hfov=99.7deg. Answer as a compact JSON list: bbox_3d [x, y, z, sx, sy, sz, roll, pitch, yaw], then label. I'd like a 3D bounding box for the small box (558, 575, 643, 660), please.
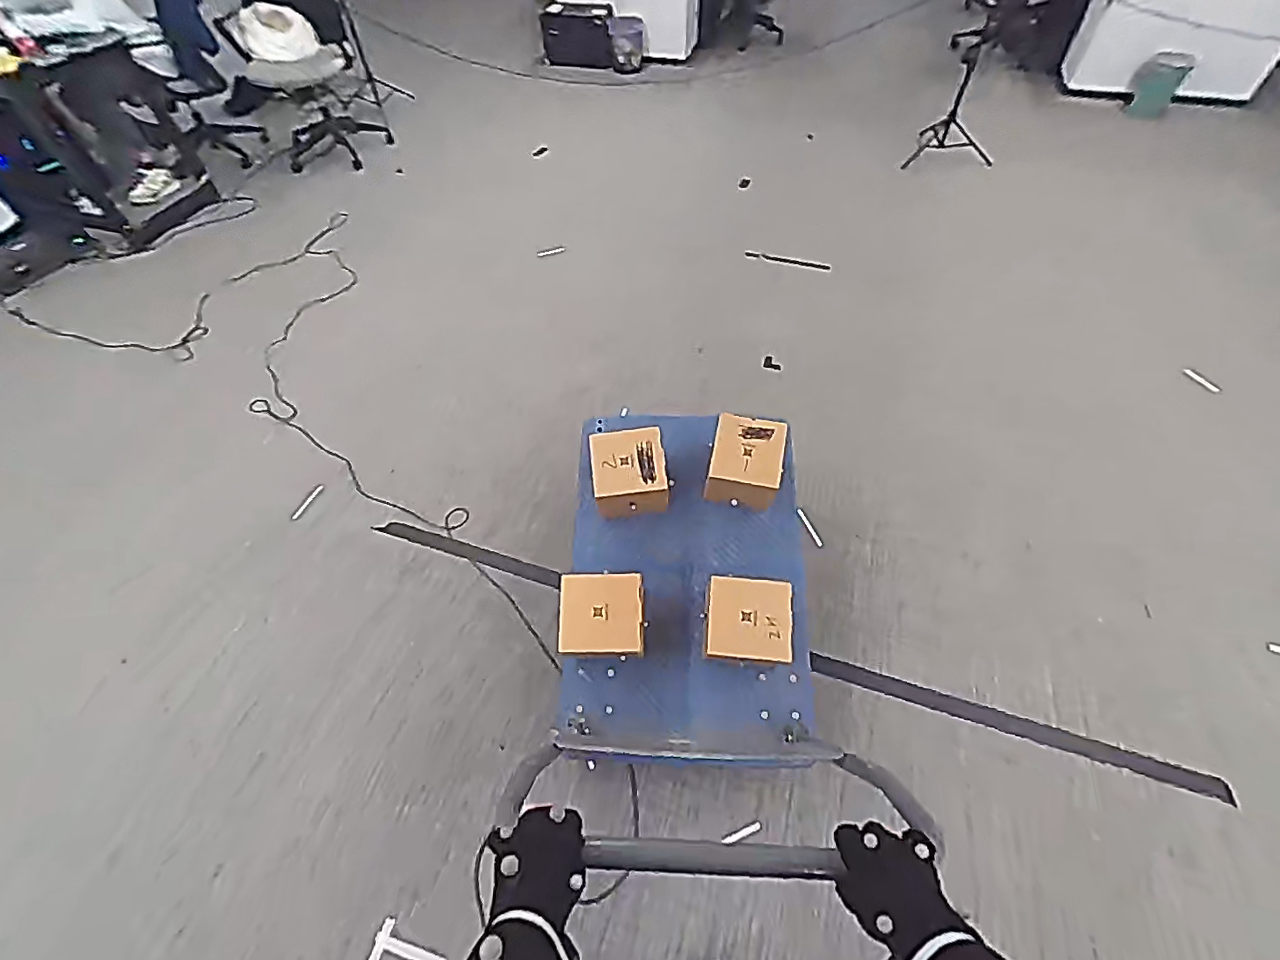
[{"bbox_3d":[-0.083,0.315,1.223,0.179,0.176,0.168,-1,67,0],"label":"small box"}]

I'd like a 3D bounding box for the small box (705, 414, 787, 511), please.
[{"bbox_3d":[0.259,-0.040,1.356,0.168,0.176,0.179,11,69,7],"label":"small box"}]

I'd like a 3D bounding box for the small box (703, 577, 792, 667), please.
[{"bbox_3d":[0.235,0.321,1.207,0.179,0.176,0.168,5,68,4],"label":"small box"}]
